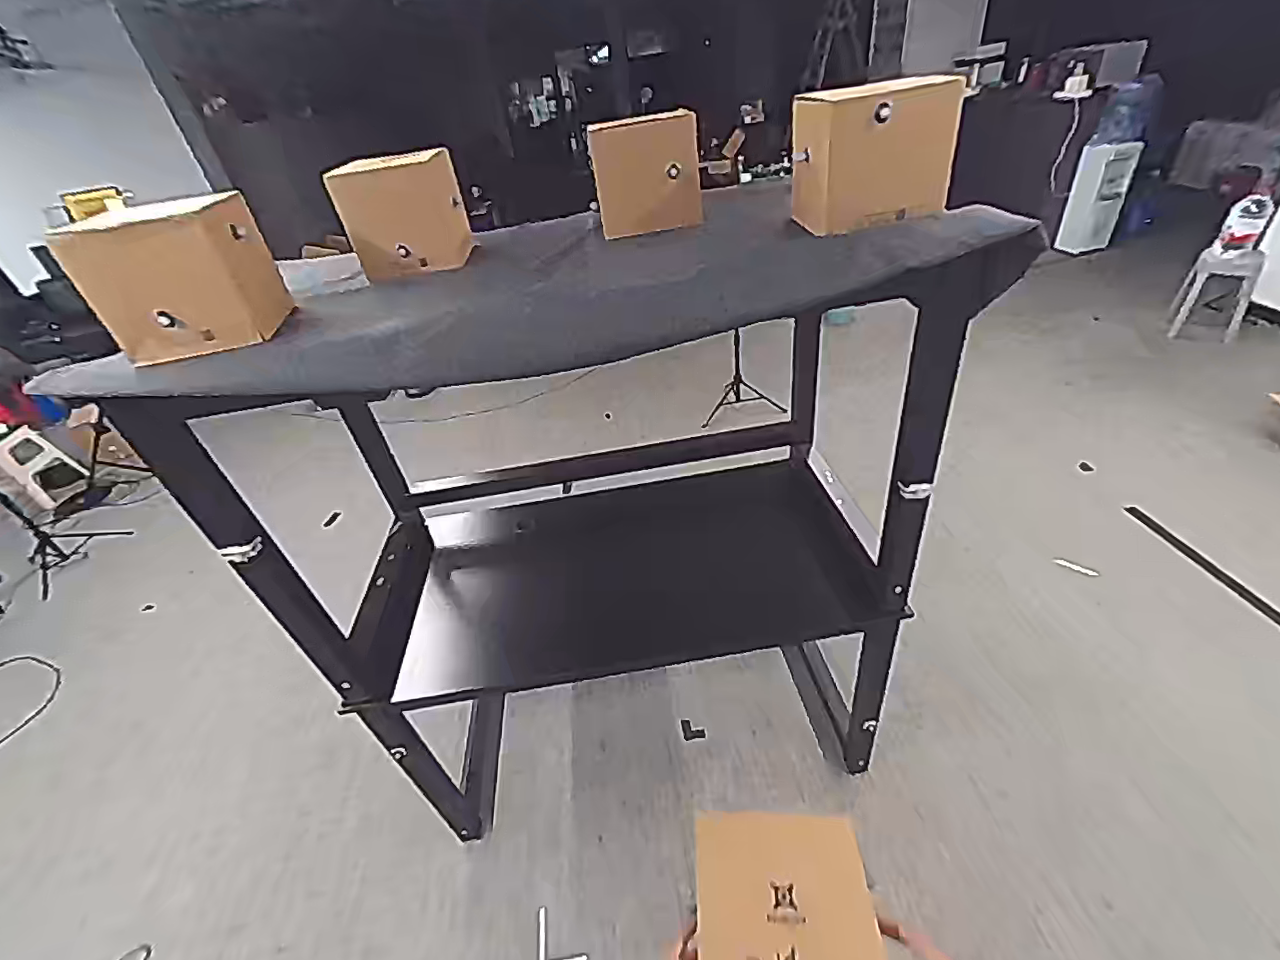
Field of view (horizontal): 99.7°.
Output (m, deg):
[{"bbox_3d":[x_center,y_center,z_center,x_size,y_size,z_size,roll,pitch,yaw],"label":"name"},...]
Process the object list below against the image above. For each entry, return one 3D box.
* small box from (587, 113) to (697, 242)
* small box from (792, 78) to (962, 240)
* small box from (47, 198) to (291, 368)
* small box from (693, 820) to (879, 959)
[{"bbox_3d":[0.005,-0.541,0.967,0.179,0.176,0.168,-9,35,1],"label":"small box"},{"bbox_3d":[0.319,-0.454,0.772,0.168,0.176,0.179,-8,35,3],"label":"small box"},{"bbox_3d":[-0.618,-0.274,0.745,0.168,0.176,0.179,-15,38,-8],"label":"small box"},{"bbox_3d":[0.137,0.481,0.543,0.168,0.176,0.179,-2,29,6],"label":"small box"}]
